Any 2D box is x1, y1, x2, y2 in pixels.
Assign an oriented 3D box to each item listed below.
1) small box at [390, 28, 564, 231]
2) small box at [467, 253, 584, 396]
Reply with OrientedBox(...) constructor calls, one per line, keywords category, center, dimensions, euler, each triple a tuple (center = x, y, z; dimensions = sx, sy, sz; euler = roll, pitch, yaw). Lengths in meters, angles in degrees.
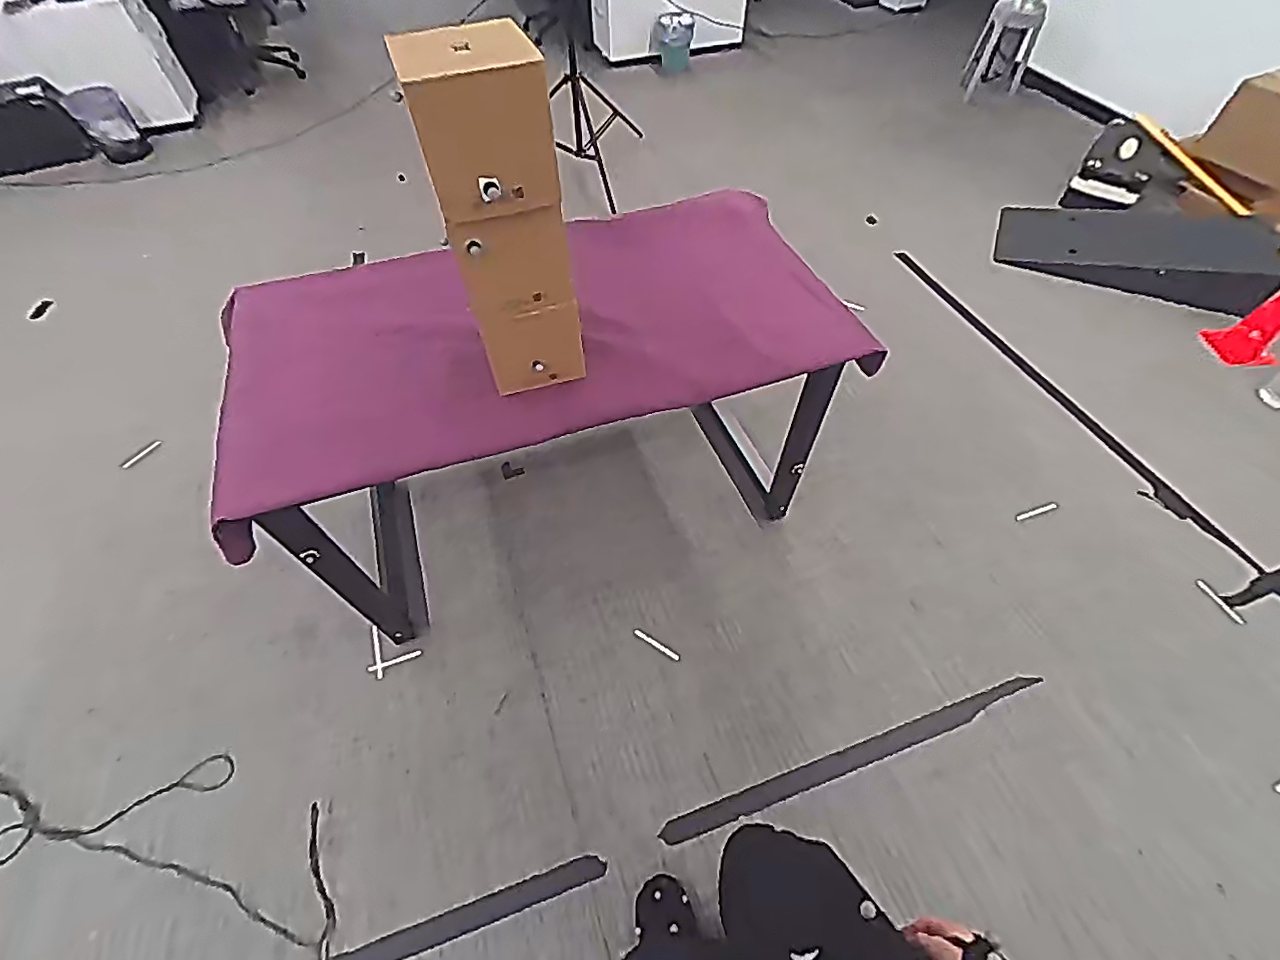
OrientedBox(category="small box", center=(-0.211, -0.464, 0.721), dimensions=(0.168, 0.176, 0.179), euler=(-19, 57, -11))
OrientedBox(category="small box", center=(-0.207, -0.283, 0.993), dimensions=(0.168, 0.176, 0.179), euler=(-15, 55, -9))
